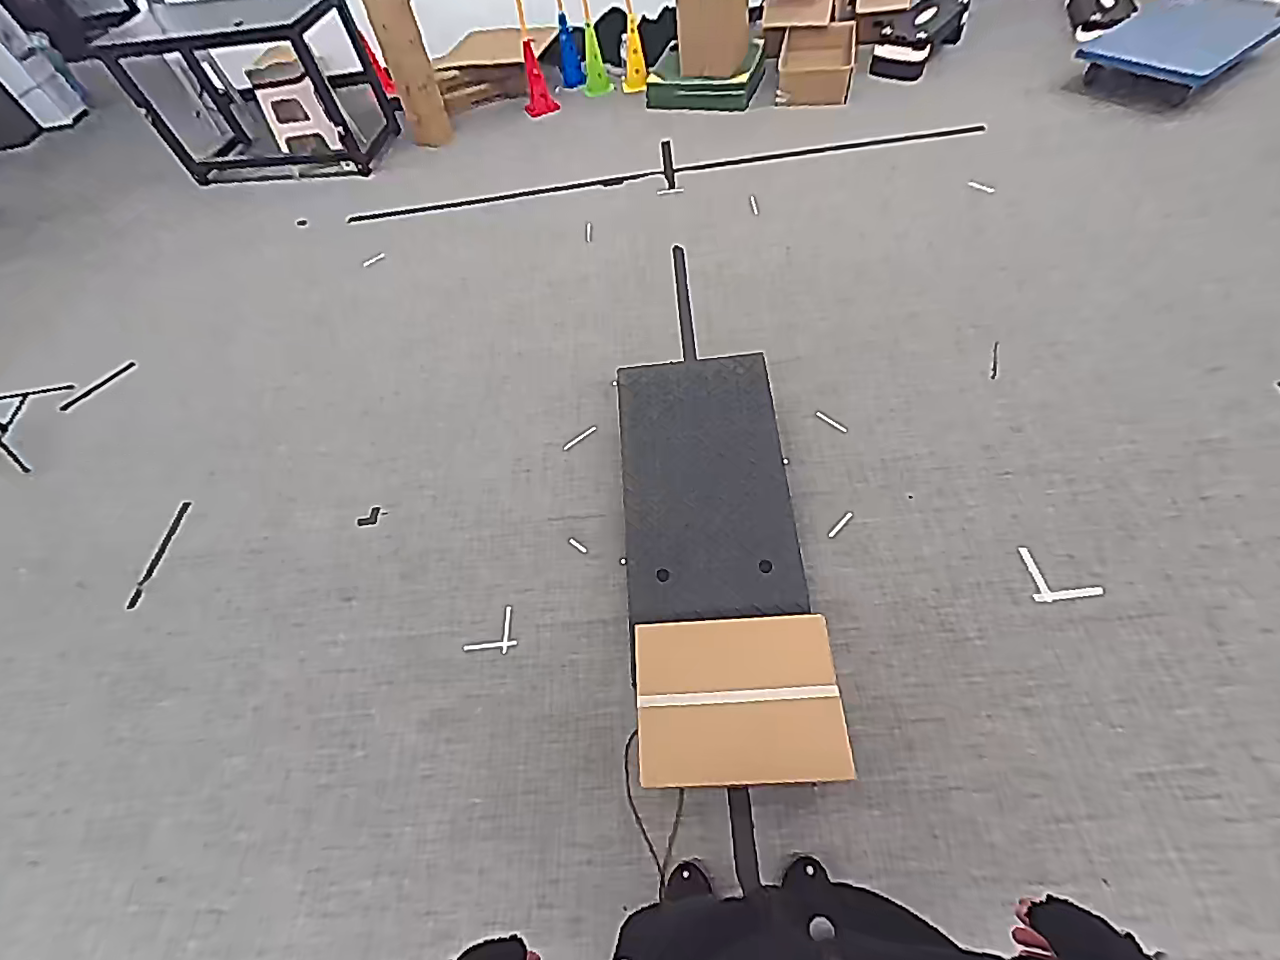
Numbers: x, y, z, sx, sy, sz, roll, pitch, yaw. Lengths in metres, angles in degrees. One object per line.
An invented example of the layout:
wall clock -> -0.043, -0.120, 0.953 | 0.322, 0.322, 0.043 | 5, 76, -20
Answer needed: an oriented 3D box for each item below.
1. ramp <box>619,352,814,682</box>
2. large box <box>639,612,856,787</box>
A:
ramp -> 0.204, 0.057, 1.608 | 0.509, 0.206, 0.991 | -7, 56, 3
large box -> 0.221, 0.507, 1.227 | 0.408, 0.320, 0.320 | -5, 59, 5
